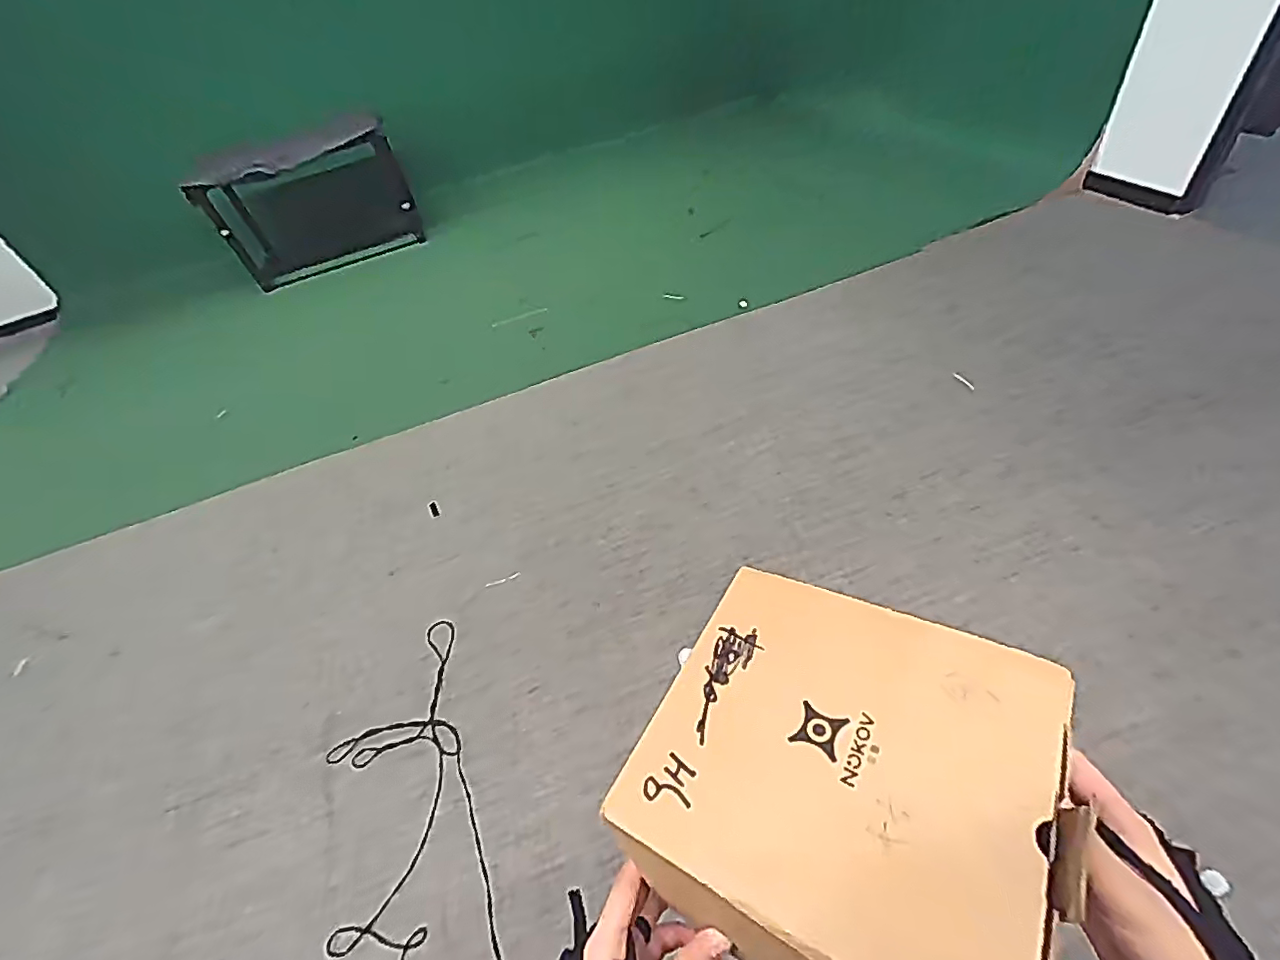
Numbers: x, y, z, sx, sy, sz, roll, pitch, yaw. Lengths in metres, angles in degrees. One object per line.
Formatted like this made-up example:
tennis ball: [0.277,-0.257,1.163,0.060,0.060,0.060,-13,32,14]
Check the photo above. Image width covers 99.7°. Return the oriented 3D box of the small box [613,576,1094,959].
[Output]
small box: [0.116,0.192,0.308,0.179,0.176,0.168,16,48,33]
